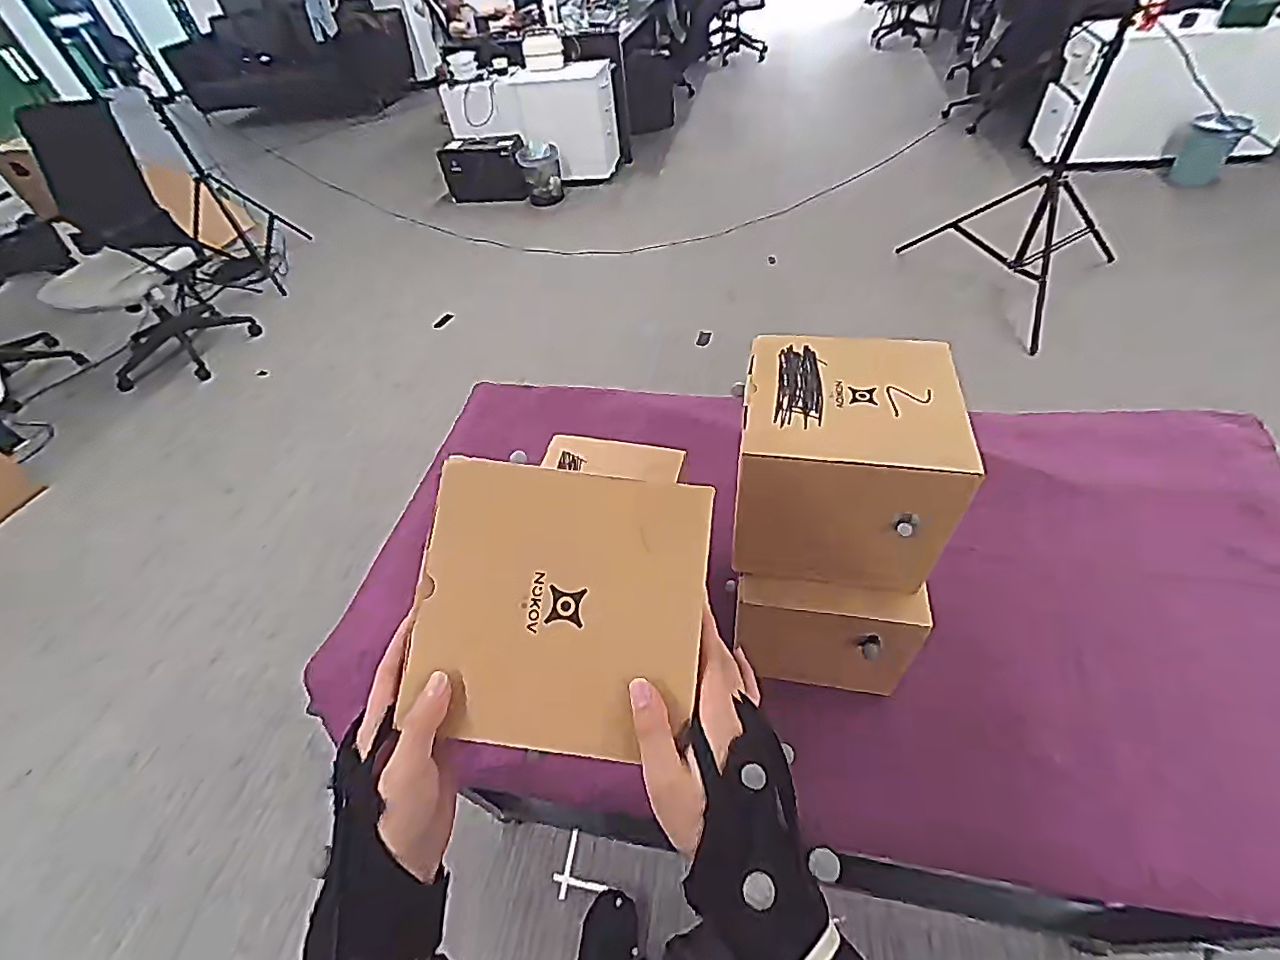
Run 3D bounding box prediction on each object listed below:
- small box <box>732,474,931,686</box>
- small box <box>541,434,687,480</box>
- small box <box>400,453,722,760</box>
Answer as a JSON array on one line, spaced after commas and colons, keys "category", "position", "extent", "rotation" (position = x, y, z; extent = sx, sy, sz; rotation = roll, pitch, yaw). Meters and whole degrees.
[{"category": "small box", "position": [0.202, 0.116, 0.613], "extent": [0.179, 0.176, 0.168], "rotation": [5, 48, 12]}, {"category": "small box", "position": [-0.041, 0.065, 0.689], "extent": [0.179, 0.176, 0.168], "rotation": [9, 50, 13]}, {"category": "small box", "position": [-0.043, 0.087, 0.403], "extent": [0.179, 0.176, 0.168], "rotation": [6, 77, 3]}]
